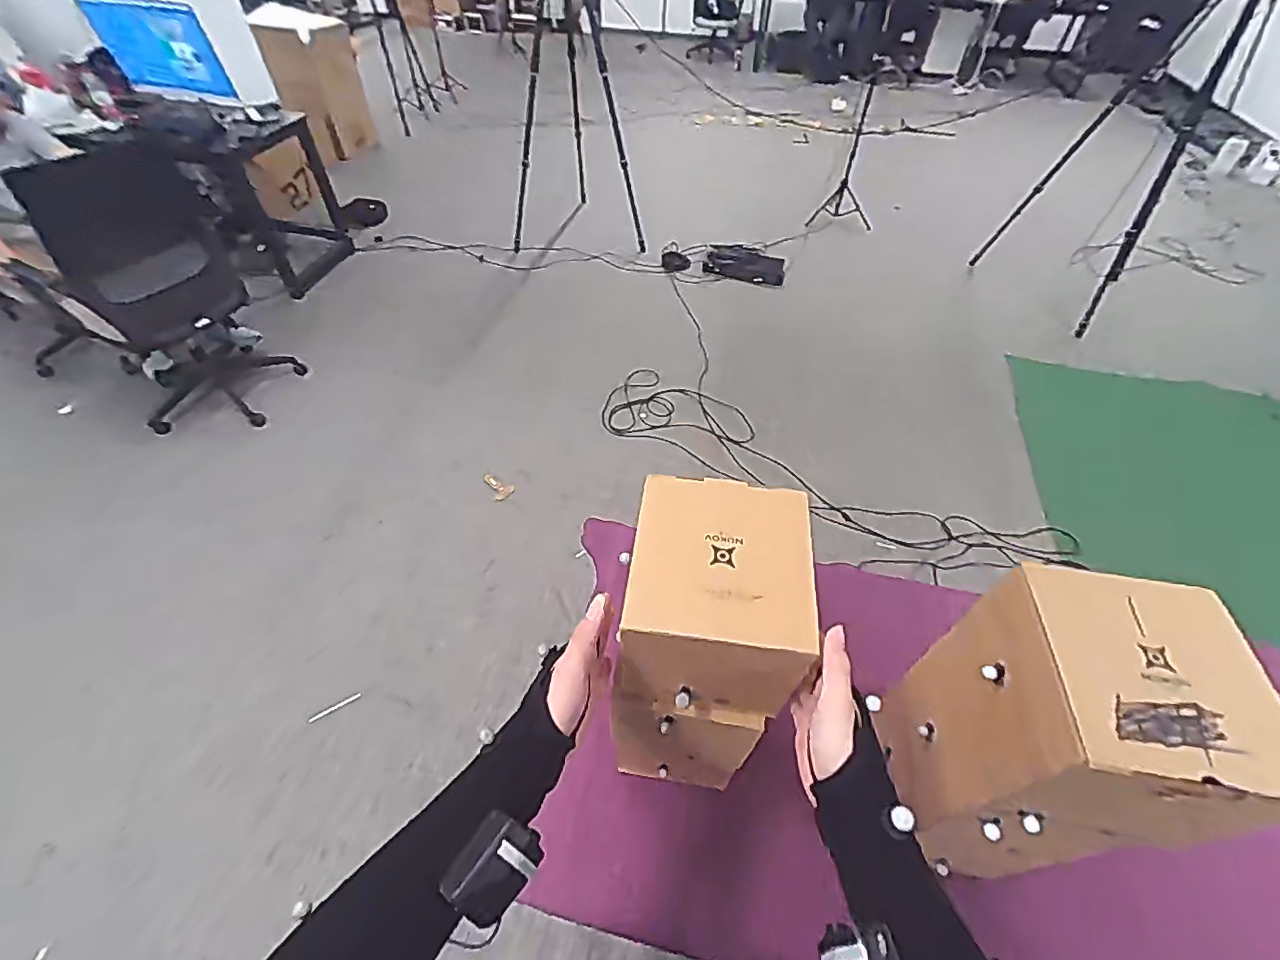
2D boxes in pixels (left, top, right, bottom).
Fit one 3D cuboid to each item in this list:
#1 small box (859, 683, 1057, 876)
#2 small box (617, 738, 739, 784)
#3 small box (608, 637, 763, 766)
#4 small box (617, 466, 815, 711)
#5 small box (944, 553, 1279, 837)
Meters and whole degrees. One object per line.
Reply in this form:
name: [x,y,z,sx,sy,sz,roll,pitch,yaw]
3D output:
small box: [0.407,0.406,0.733,0.168,0.176,0.179,9,49,7]
small box: [0.059,0.325,0.802,0.168,0.176,0.179,7,49,5]
small box: [0.058,0.226,0.670,0.168,0.176,0.179,8,49,6]
small box: [0.071,0.112,0.553,0.168,0.176,0.179,6,50,5]
small box: [0.402,0.194,0.483,0.168,0.176,0.179,8,48,6]
